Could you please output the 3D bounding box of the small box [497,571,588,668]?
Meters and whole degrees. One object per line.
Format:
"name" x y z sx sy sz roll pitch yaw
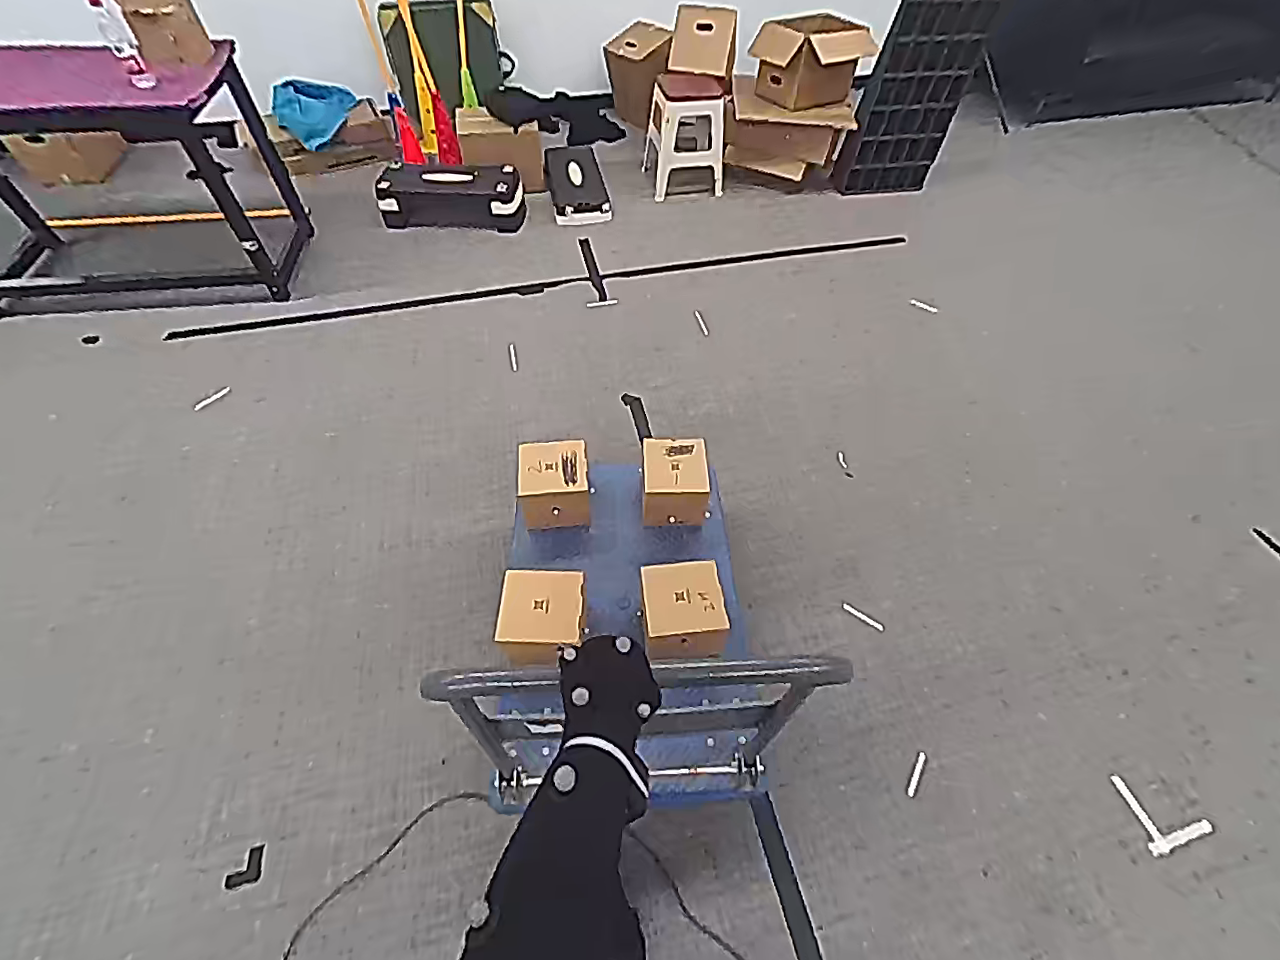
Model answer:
"small box" -0.212 0.320 1.225 0.179 0.176 0.168 2 53 -3

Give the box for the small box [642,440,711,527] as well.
"small box" 0.092 0.010 1.463 0.168 0.176 0.179 -1 55 -2

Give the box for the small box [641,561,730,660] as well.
"small box" 0.096 0.305 1.246 0.179 0.176 0.168 -4 54 -5
